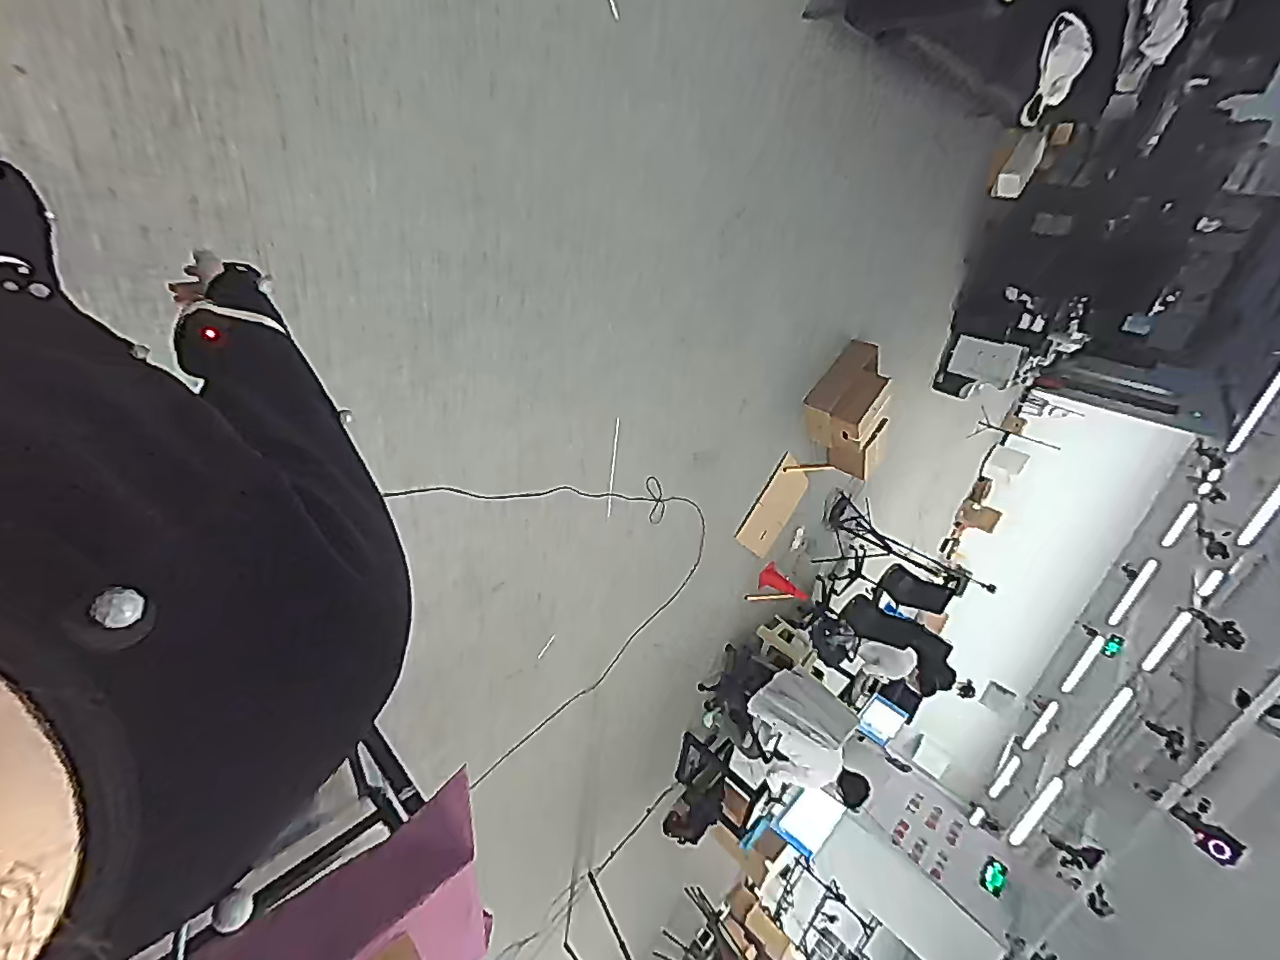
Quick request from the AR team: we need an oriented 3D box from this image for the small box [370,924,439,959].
[{"bbox_3d":[-0.583,1.256,1.325,0.179,0.176,0.168,-20,128,-42],"label":"small box"}]
